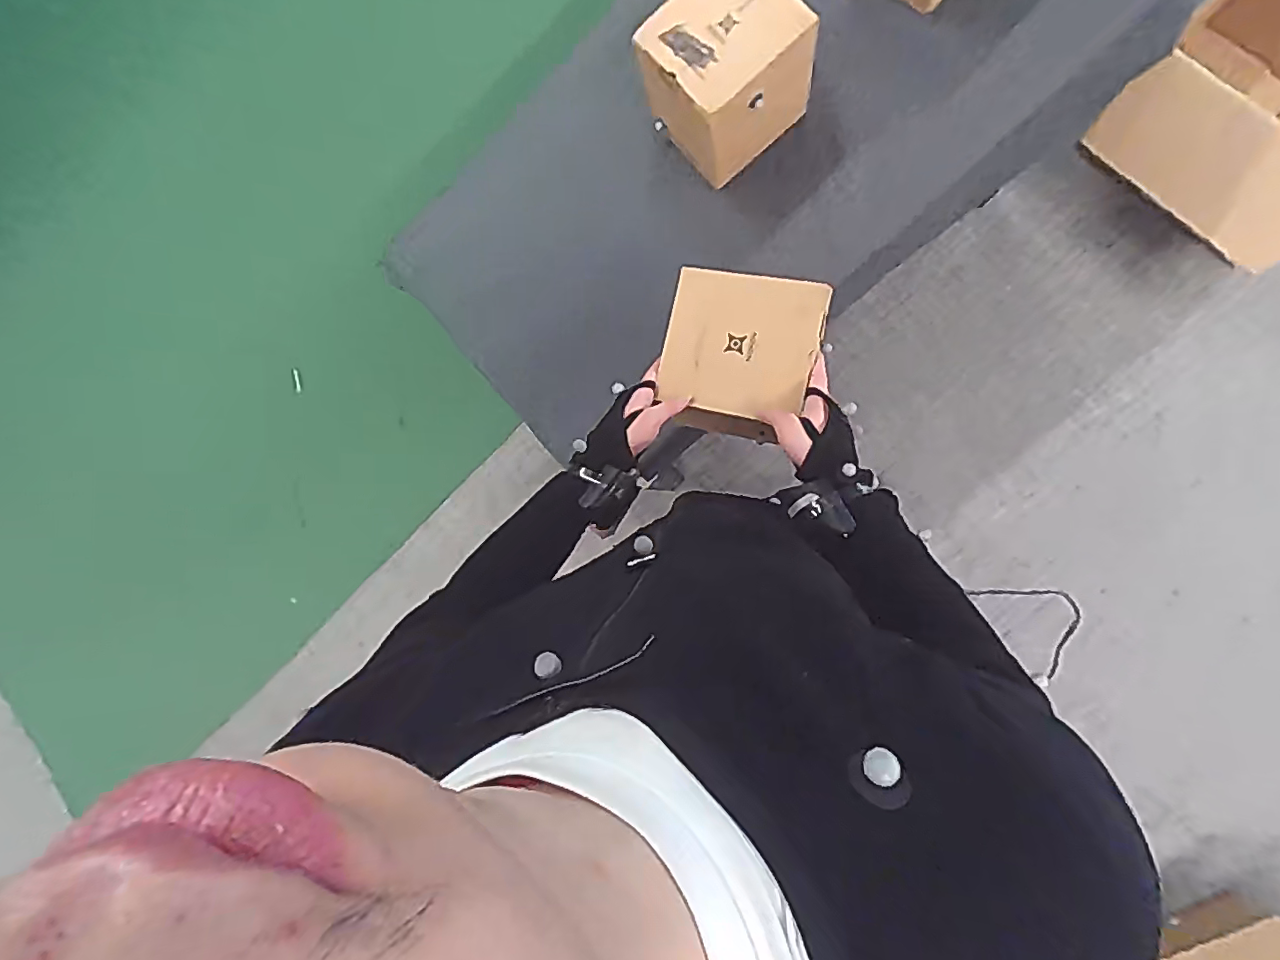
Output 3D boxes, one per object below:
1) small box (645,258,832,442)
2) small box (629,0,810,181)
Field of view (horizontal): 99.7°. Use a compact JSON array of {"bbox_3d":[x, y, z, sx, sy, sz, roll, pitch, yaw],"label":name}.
[{"bbox_3d":[0.125,-0.150,0.673,0.179,0.176,0.168,13,88,16],"label":"small box"},{"bbox_3d":[0.113,-0.572,0.764,0.179,0.176,0.168,-36,84,8],"label":"small box"}]
